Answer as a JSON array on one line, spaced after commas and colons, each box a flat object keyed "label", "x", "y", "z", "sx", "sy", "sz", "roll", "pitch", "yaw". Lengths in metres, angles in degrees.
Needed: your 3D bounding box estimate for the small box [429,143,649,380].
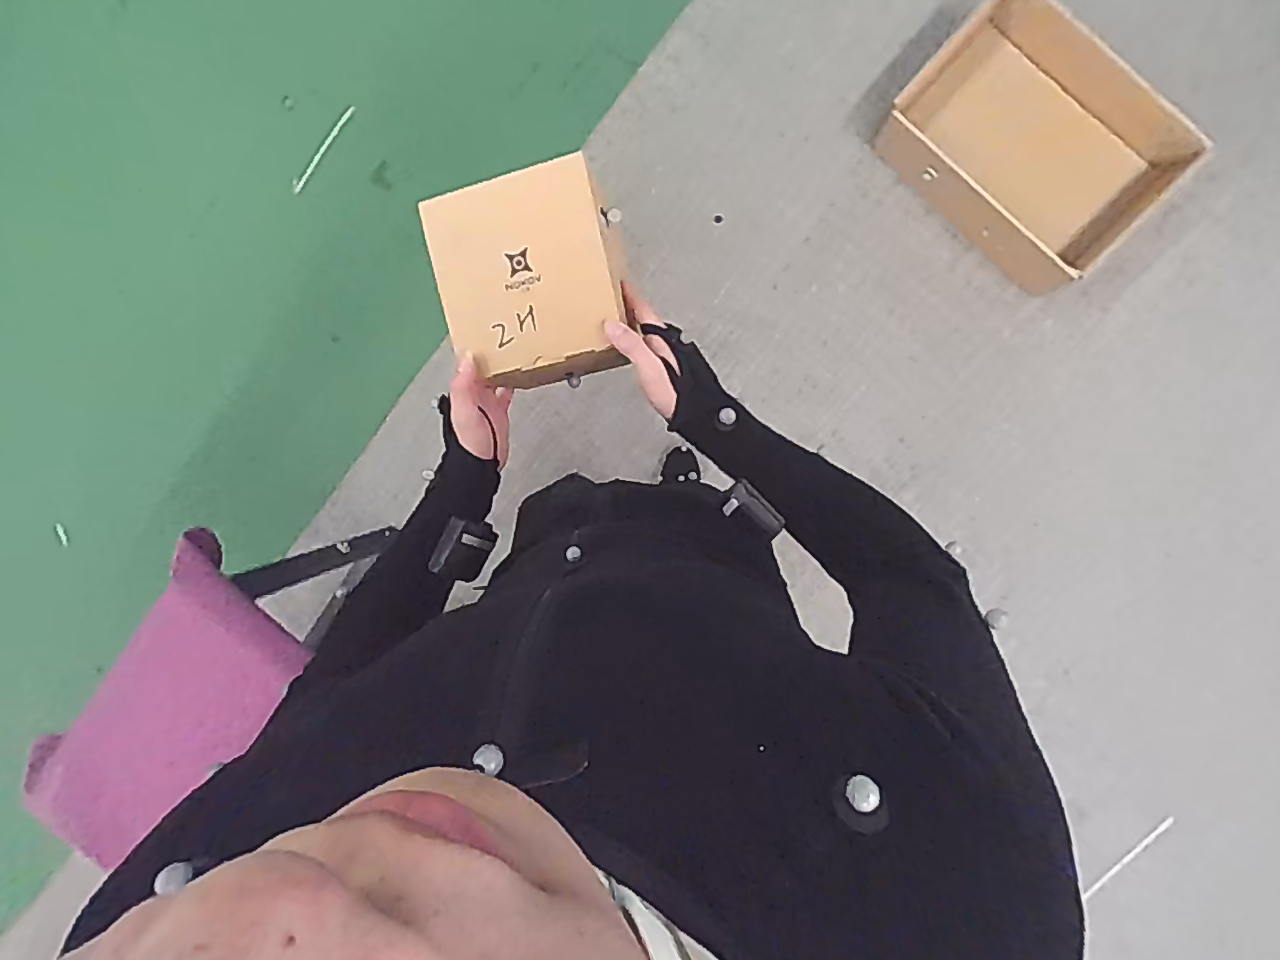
[{"label": "small box", "x": -0.092, "y": -0.211, "z": 0.576, "sx": 0.168, "sy": 0.176, "sz": 0.179, "roll": -10, "pitch": 96, "yaw": 10}]
